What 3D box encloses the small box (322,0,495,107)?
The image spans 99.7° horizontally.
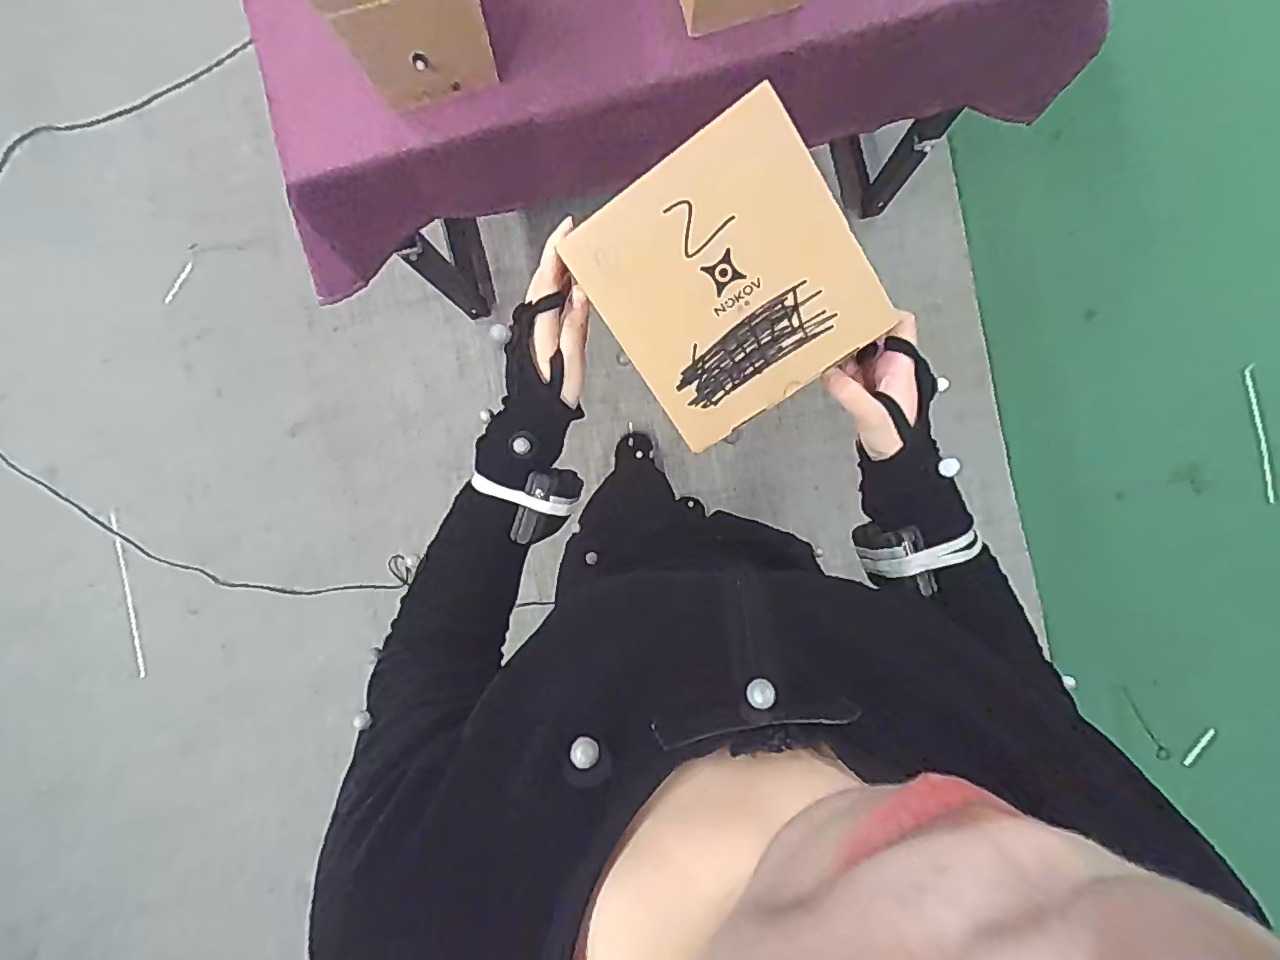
[{"bbox_3d":[-0.307,-0.636,0.716,0.168,0.176,0.179,-13,88,1],"label":"small box"}]

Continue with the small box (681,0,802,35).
[{"bbox_3d":[0.130,-0.732,0.699,0.179,0.176,0.168,-14,89,3],"label":"small box"}]
